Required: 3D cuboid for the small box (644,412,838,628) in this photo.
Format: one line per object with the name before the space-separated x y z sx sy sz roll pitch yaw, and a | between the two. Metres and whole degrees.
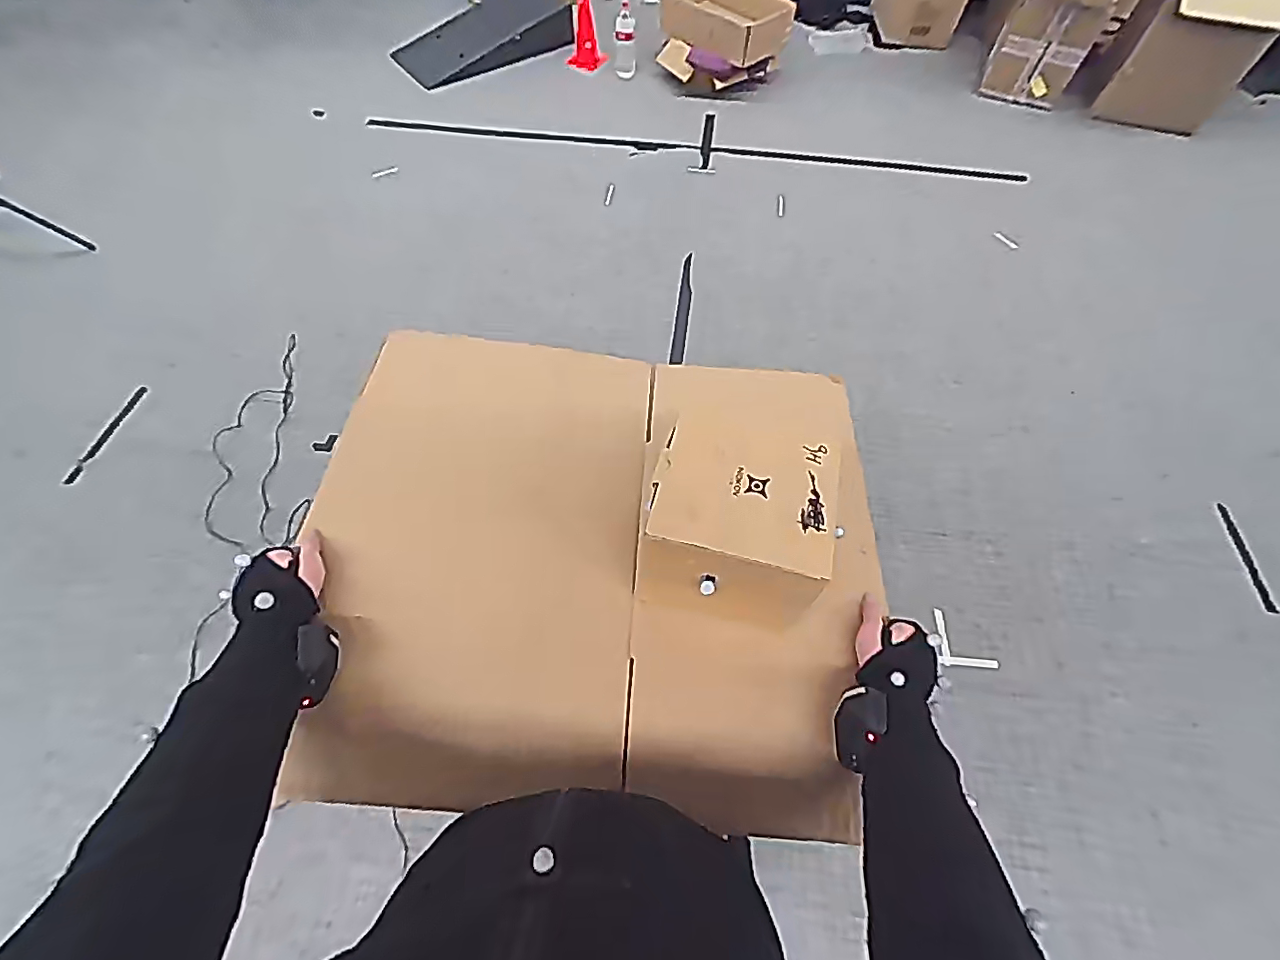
small box | 0.107 0.051 0.610 0.179 0.176 0.168 12 58 8
